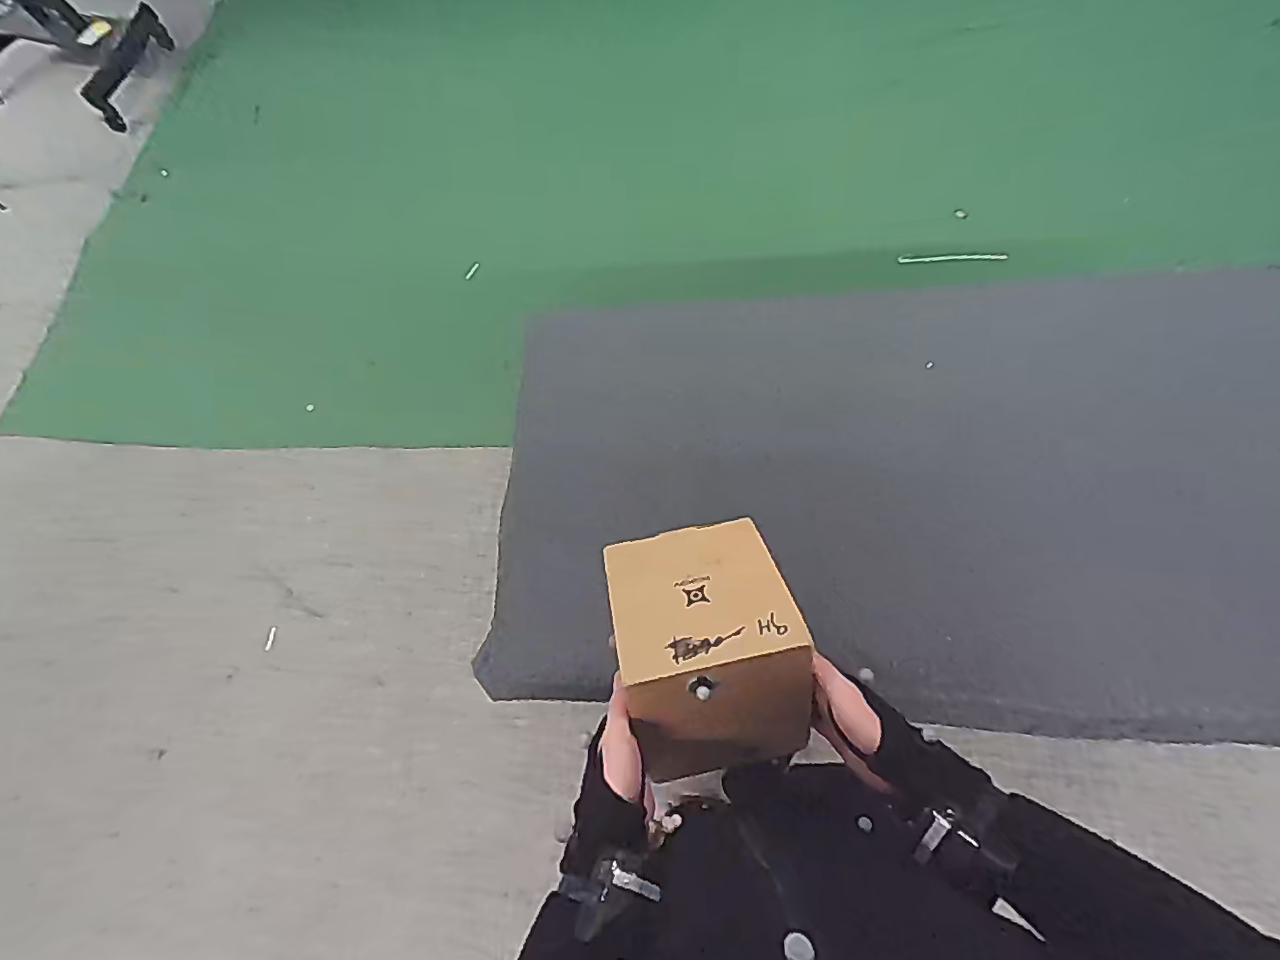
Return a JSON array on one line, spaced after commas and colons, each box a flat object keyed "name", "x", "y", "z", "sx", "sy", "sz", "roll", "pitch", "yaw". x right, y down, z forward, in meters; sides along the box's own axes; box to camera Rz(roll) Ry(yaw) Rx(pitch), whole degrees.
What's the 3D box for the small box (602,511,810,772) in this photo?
[{"name": "small box", "x": 0.062, "y": 0.162, "z": 0.560, "sx": 0.168, "sy": 0.176, "sz": 0.179, "roll": -14, "pitch": 35, "yaw": -2}]
